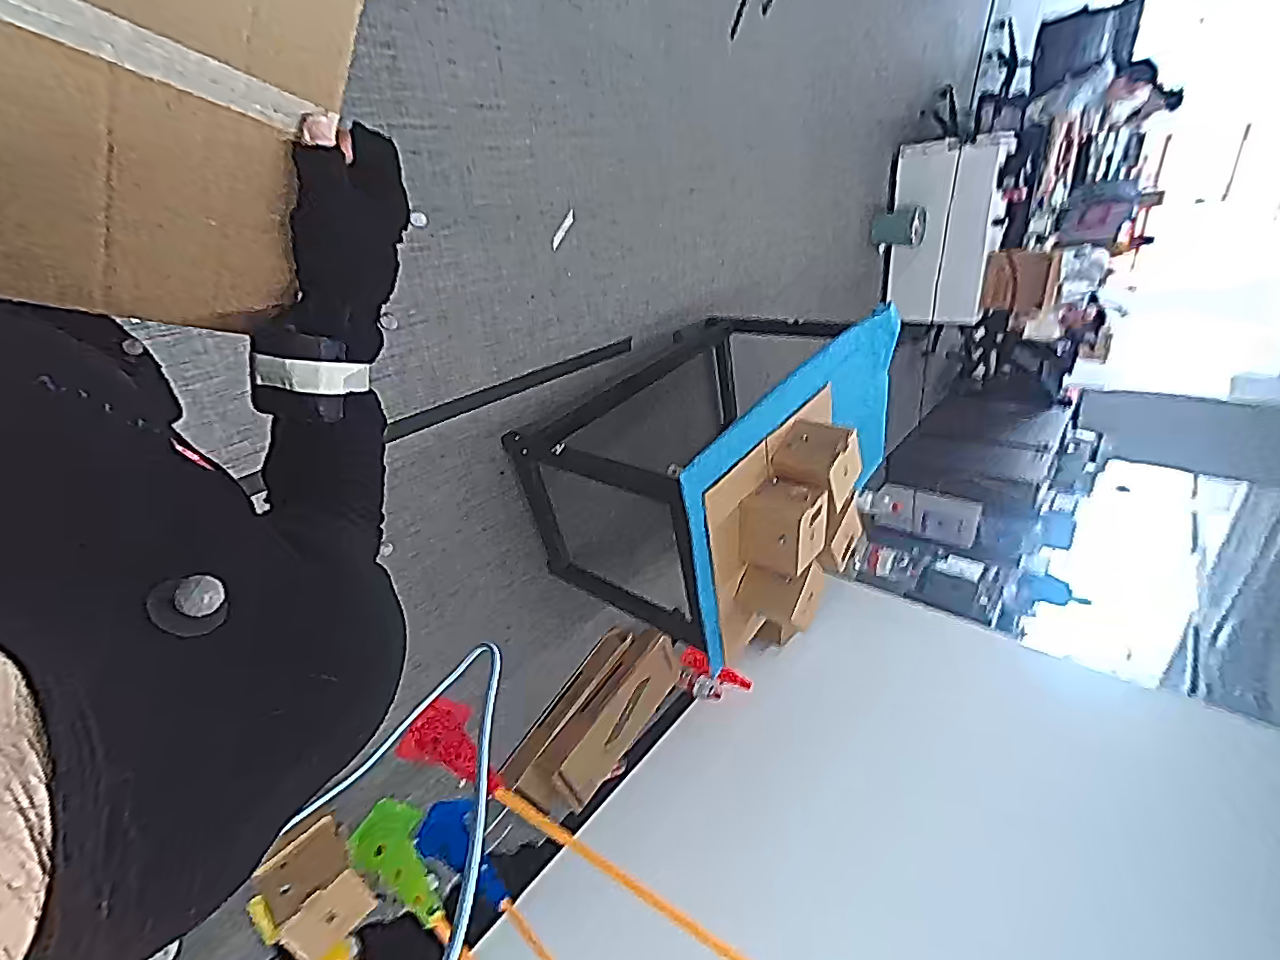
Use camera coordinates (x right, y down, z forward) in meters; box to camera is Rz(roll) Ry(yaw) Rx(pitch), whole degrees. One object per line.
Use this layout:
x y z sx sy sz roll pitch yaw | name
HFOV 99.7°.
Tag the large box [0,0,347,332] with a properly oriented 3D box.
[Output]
-0.419 -0.315 0.269 0.408 0.320 0.320 -3 138 -47 | large box
